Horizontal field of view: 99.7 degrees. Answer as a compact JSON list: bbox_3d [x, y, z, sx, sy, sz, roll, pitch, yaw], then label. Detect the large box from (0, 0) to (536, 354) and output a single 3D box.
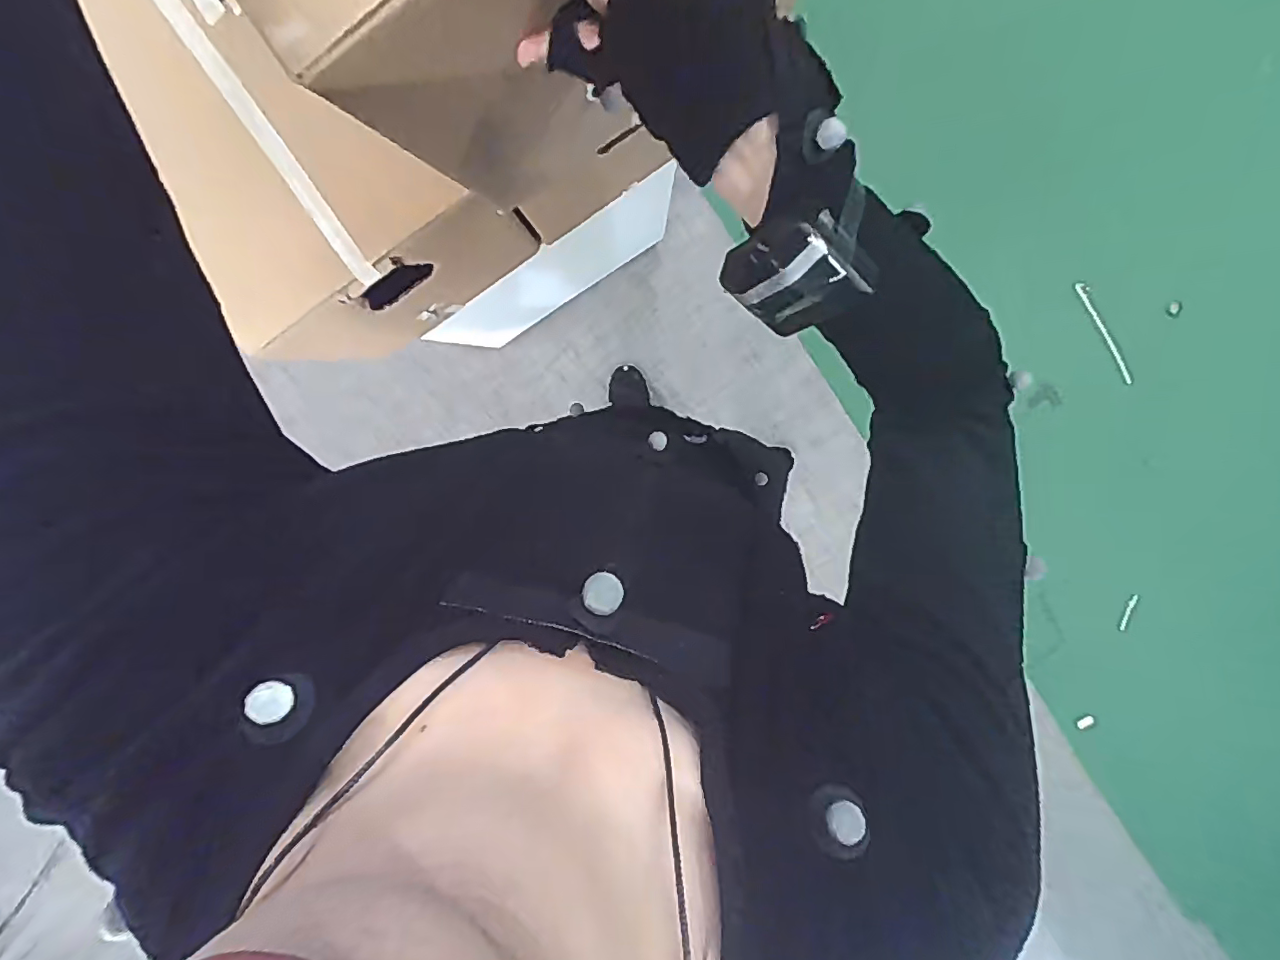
[{"bbox_3d":[-0.391,-0.410,0.668,0.320,0.320,0.408,-33,99,6],"label":"large box"}]
